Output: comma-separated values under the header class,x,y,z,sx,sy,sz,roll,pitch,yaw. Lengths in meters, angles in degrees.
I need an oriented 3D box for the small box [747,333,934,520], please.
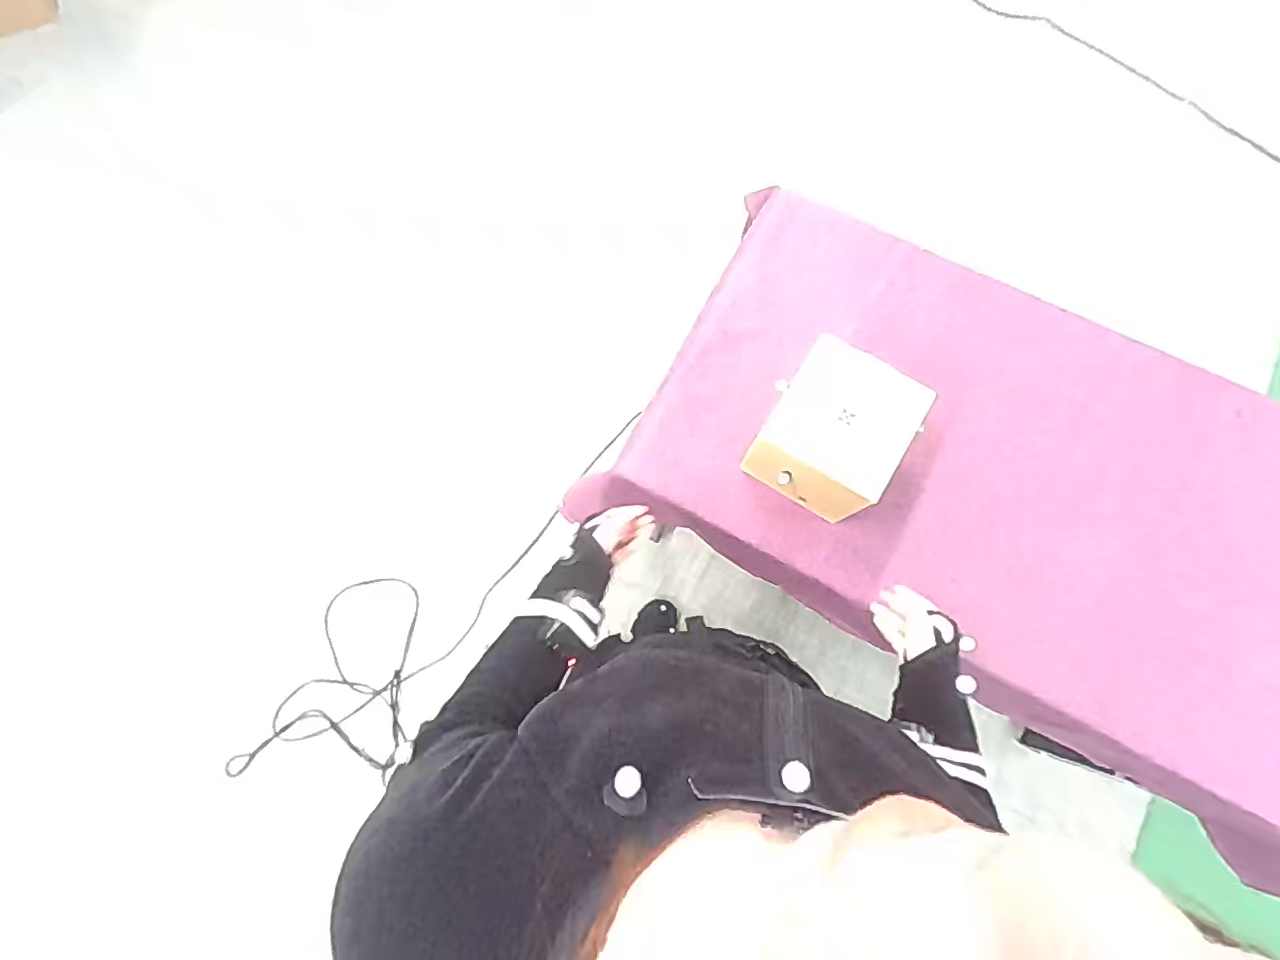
class,x,y,z,sx,sy,sz,roll,pitch,yaw
small box,0.267,-0.064,0.766,0.168,0.176,0.179,32,78,9
